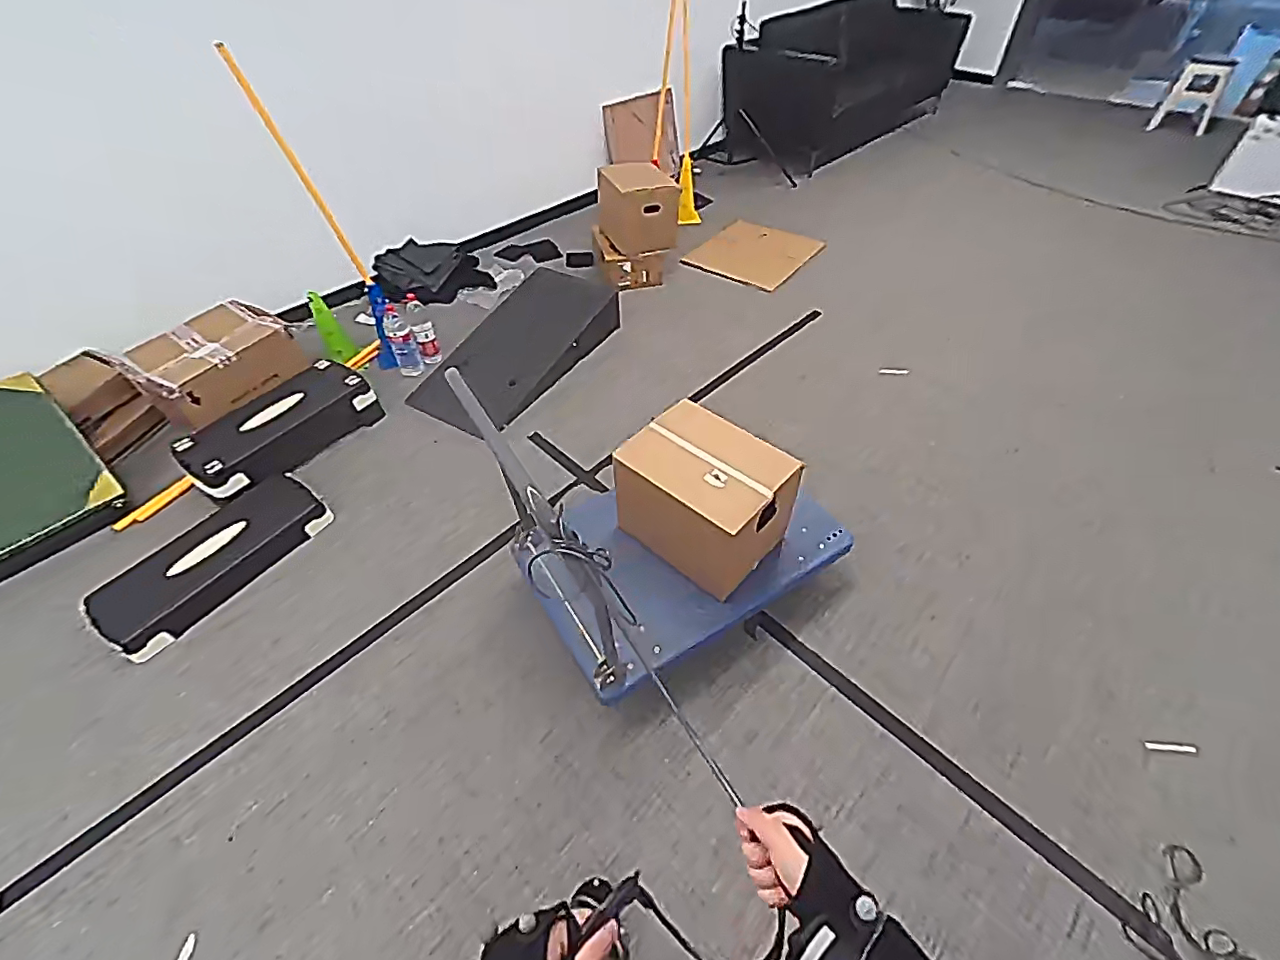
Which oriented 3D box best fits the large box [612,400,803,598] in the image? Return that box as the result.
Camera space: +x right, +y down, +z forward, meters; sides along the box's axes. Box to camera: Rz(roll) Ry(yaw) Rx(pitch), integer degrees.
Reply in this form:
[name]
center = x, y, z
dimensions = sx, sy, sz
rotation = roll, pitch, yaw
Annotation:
[large box]
center = 0.171, 0.046, 1.510
dimensions = 0.408, 0.320, 0.320
rotation = 34, 58, 27
